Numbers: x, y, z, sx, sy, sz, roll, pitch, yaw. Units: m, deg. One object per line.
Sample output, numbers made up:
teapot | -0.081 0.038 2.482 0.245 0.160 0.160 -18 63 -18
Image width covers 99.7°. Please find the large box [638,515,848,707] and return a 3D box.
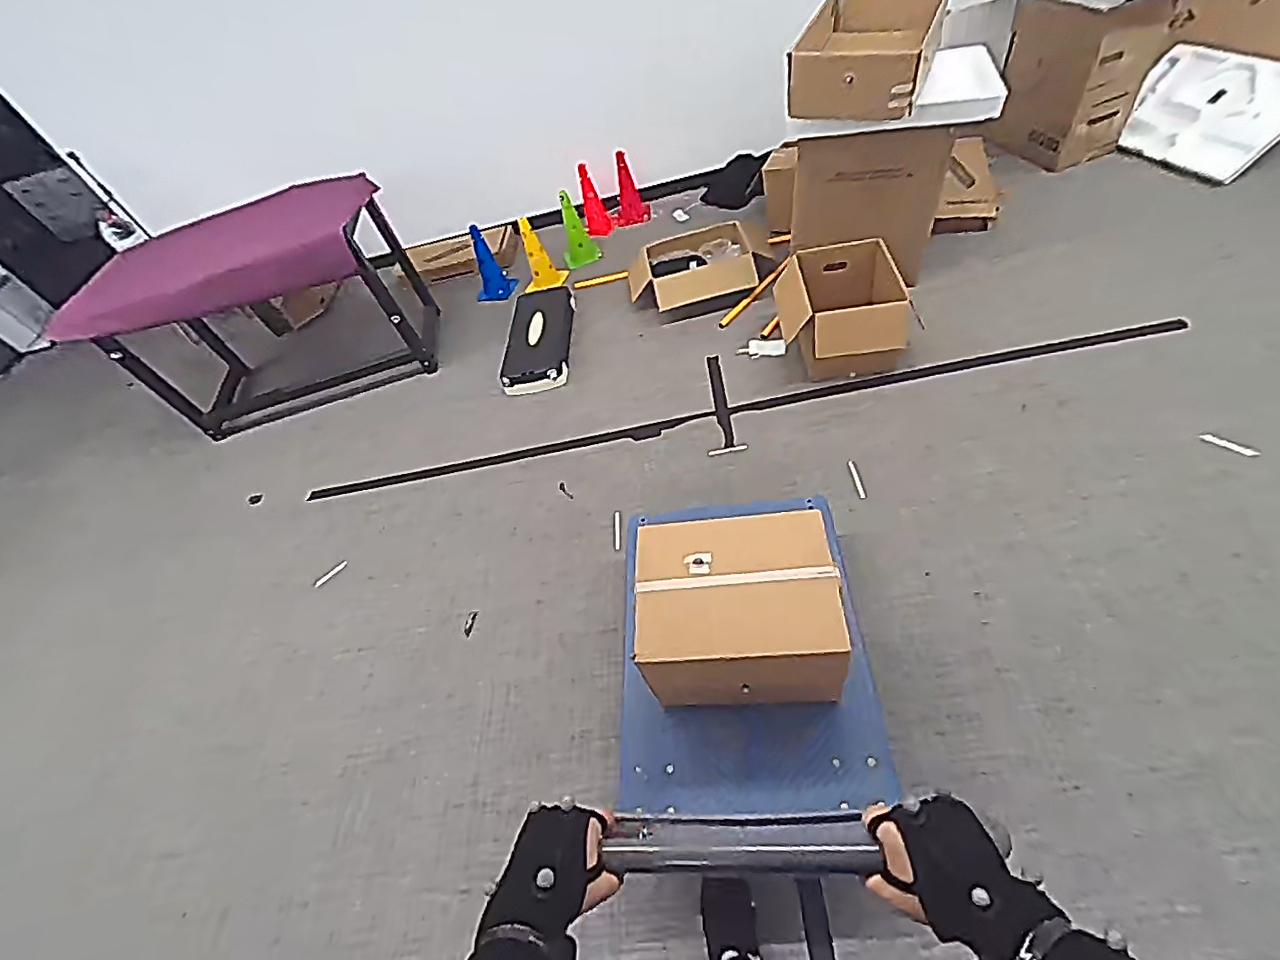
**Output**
large box | 0.225 0.312 1.232 0.408 0.320 0.320 -8 50 11
